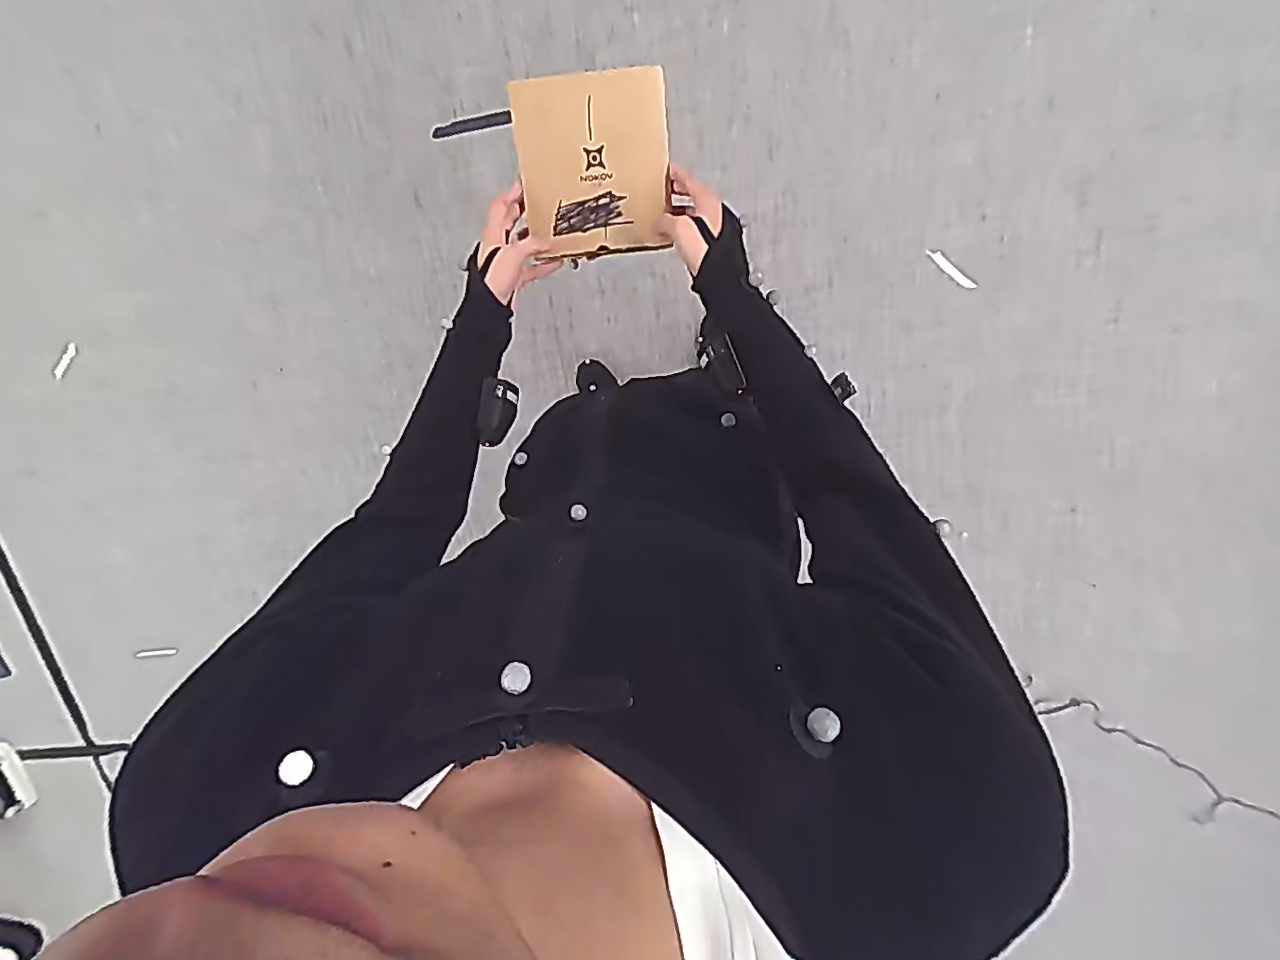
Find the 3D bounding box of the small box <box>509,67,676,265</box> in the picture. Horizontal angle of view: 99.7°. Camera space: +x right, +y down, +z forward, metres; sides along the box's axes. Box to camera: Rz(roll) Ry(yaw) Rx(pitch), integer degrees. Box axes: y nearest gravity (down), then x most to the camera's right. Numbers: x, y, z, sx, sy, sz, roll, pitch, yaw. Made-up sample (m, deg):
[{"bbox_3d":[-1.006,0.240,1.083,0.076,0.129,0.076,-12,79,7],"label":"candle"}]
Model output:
[{"bbox_3d":[-0.046,-0.361,0.653,0.168,0.176,0.179,-5,111,1],"label":"small box"}]
